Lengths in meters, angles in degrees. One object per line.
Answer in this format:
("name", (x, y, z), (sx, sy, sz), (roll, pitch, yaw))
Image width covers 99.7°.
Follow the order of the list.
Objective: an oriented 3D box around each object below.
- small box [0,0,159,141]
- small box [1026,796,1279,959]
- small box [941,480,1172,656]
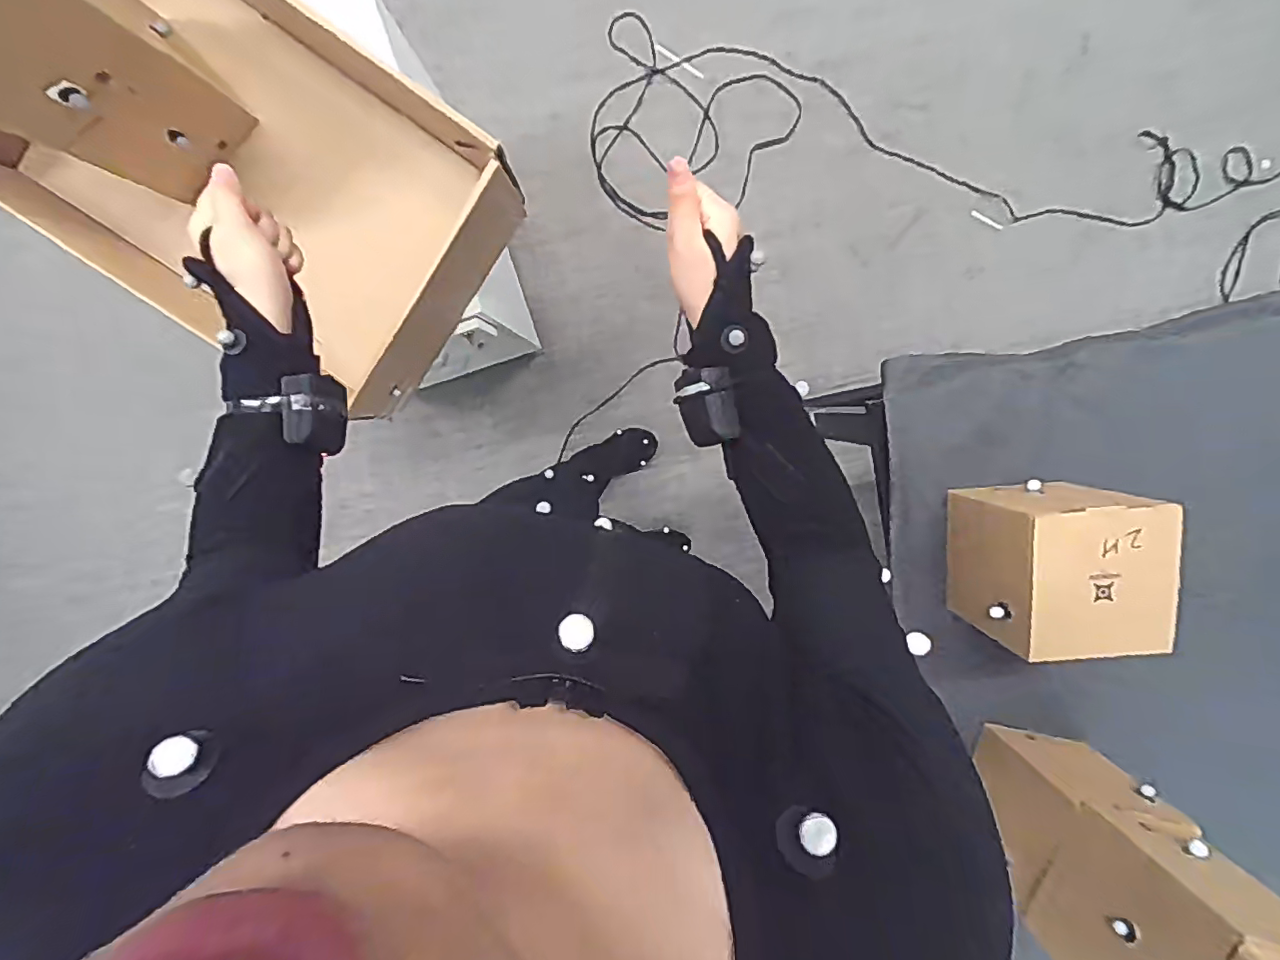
("small box", (-0.641, -0.478, 0.517), (0.168, 0.176, 0.179), (-39, 98, 7))
("small box", (0.560, 0.485, 0.570), (0.168, 0.176, 0.179), (21, 96, -4))
("small box", (0.507, 0.101, 0.685), (0.168, 0.176, 0.179), (-4, 97, 0))
